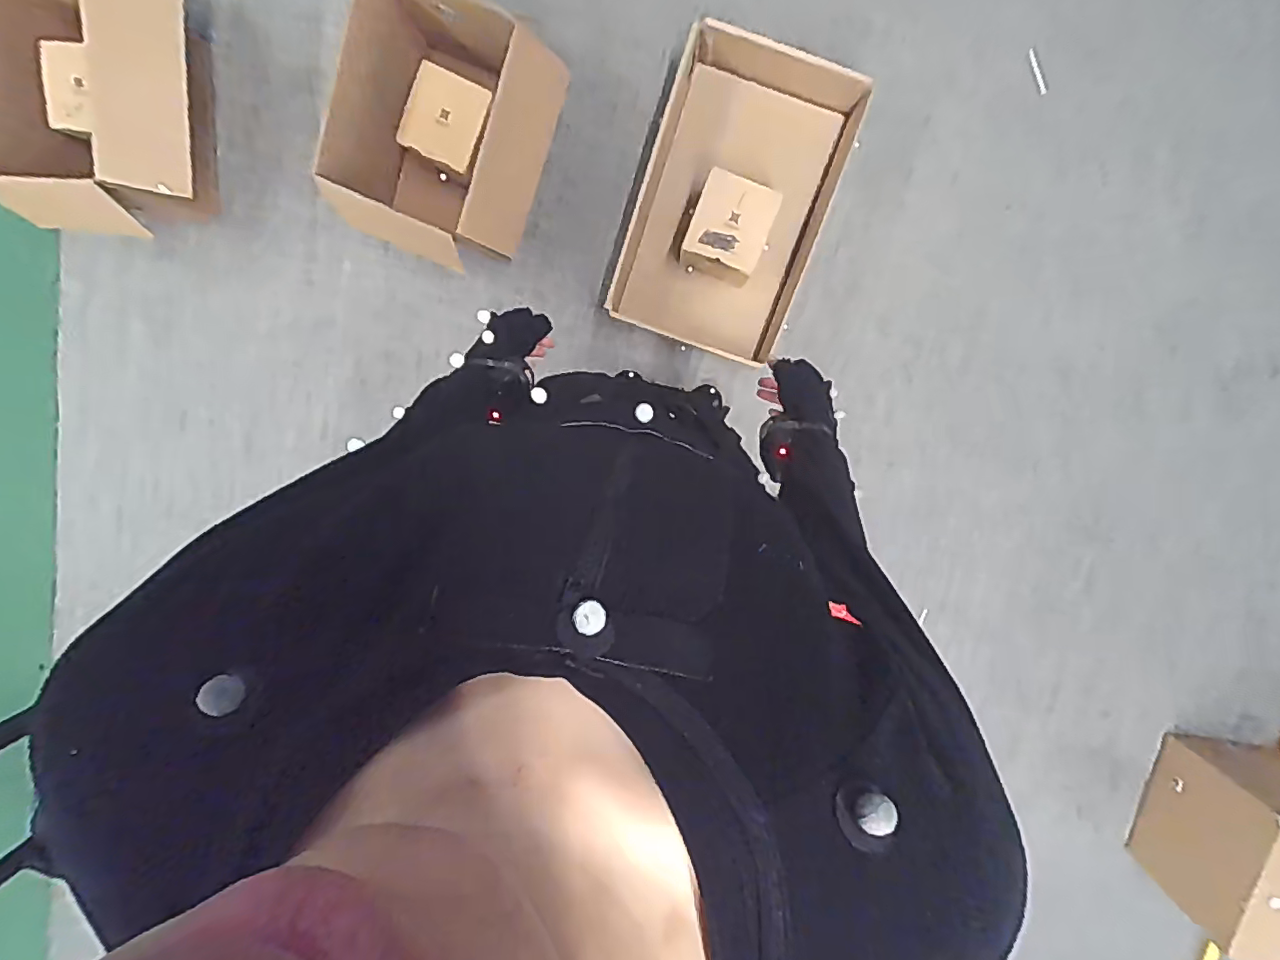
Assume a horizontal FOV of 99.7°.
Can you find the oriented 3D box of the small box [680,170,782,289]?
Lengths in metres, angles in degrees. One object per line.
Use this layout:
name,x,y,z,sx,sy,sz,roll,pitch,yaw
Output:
small box,0.197,-0.553,1.223,0.168,0.176,0.179,22,100,-2
